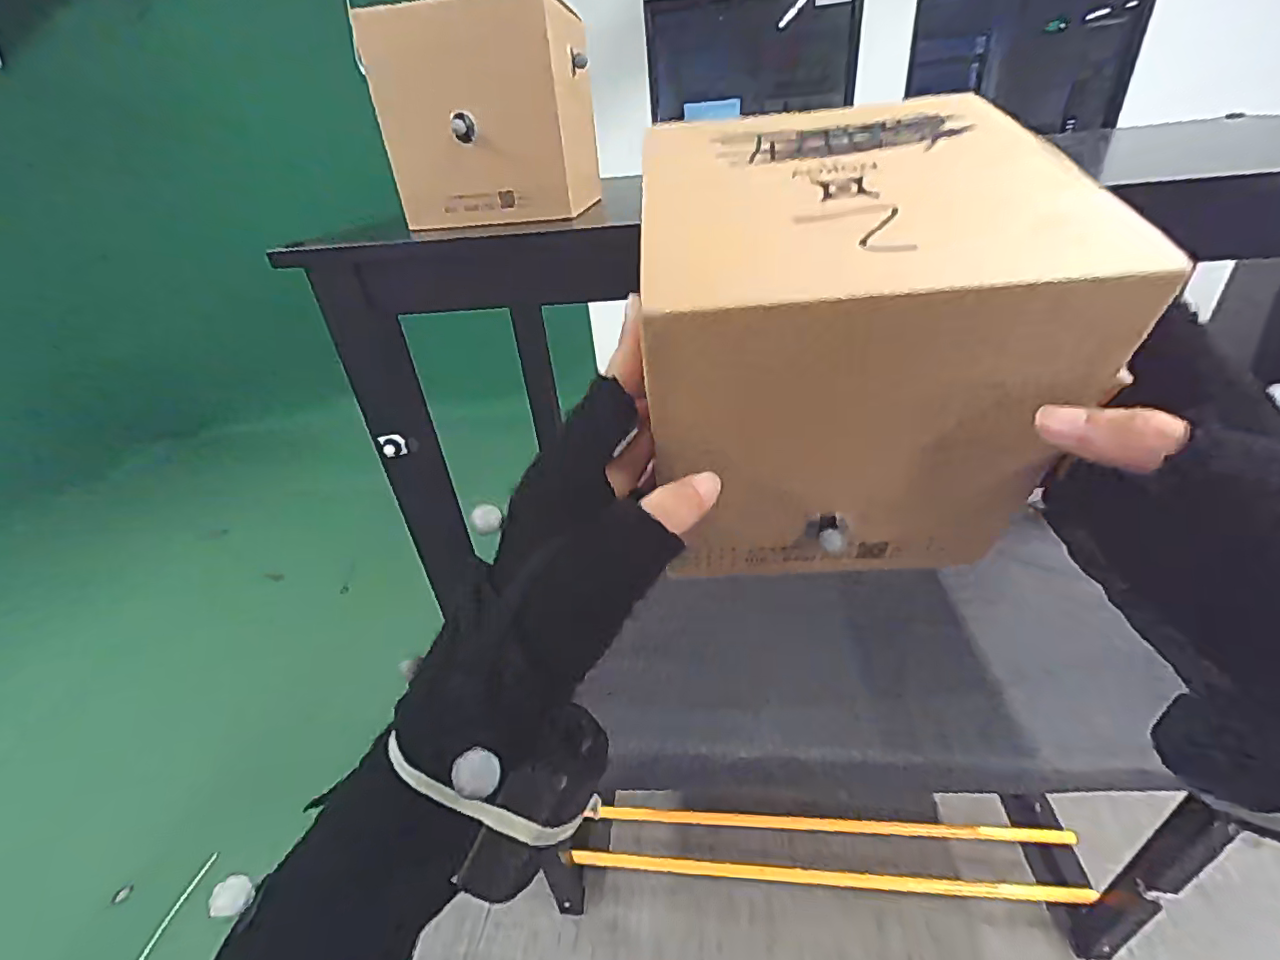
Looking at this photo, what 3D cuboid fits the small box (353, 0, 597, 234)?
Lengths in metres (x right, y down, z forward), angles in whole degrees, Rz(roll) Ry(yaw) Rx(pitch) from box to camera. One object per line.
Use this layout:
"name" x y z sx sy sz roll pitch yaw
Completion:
"small box" -0.143 -0.351 0.548 0.168 0.176 0.179 -1 32 7
